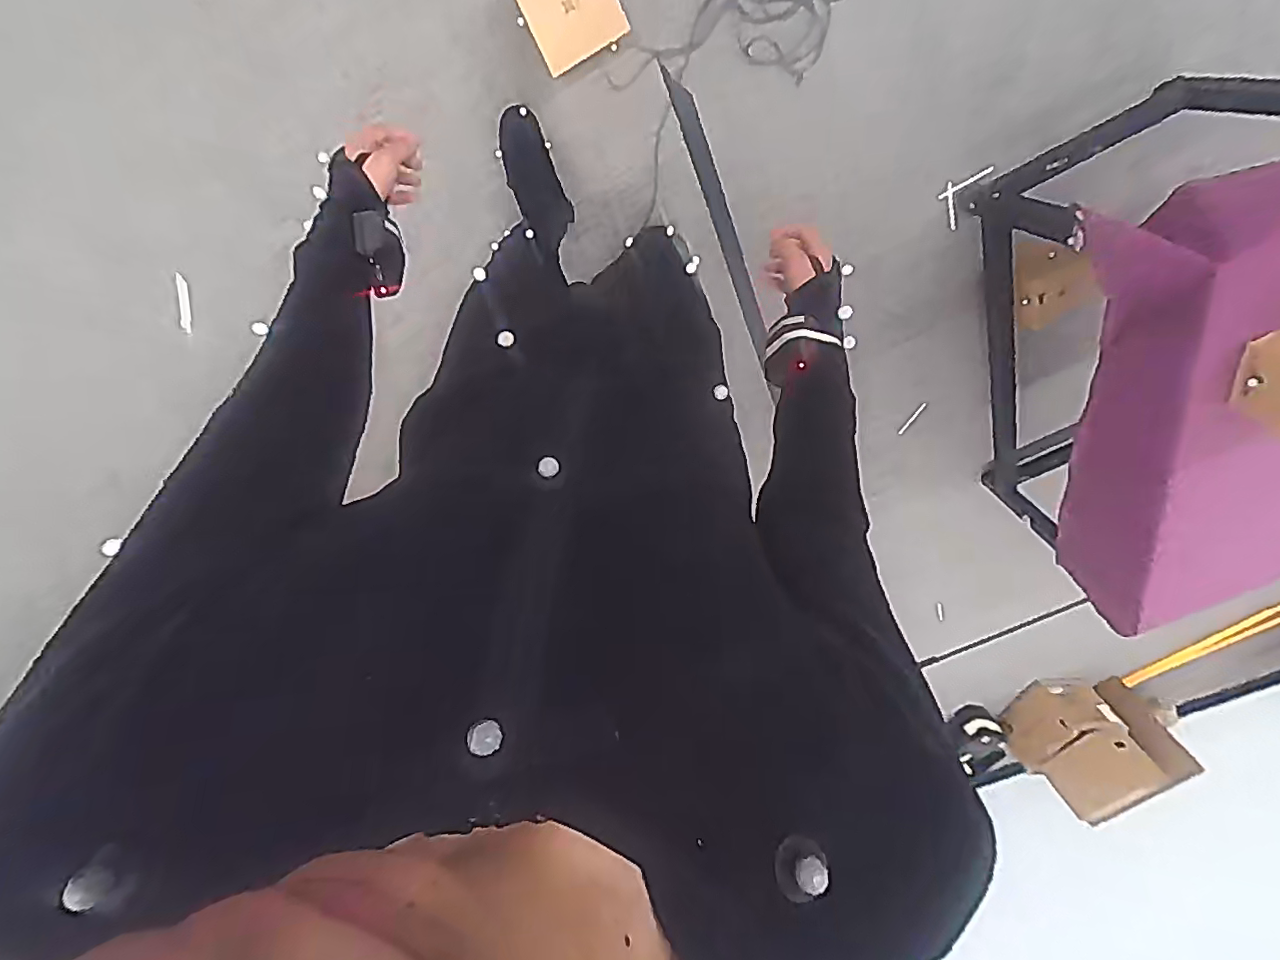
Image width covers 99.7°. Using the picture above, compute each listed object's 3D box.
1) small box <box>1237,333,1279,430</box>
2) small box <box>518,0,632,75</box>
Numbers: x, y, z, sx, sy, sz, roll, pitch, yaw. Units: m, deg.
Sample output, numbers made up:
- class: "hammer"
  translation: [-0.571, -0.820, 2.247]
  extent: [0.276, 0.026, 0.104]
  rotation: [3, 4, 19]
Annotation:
- class: "small box"
  translation: [1.240, -0.182, 0.949]
  extent: [0.179, 0.176, 0.168]
  rotation: [-25, 127, 9]
- class: "small box"
  translation: [-0.134, -0.926, 1.055]
  extent: [0.179, 0.176, 0.168]
  rotation: [-26, 127, 10]
